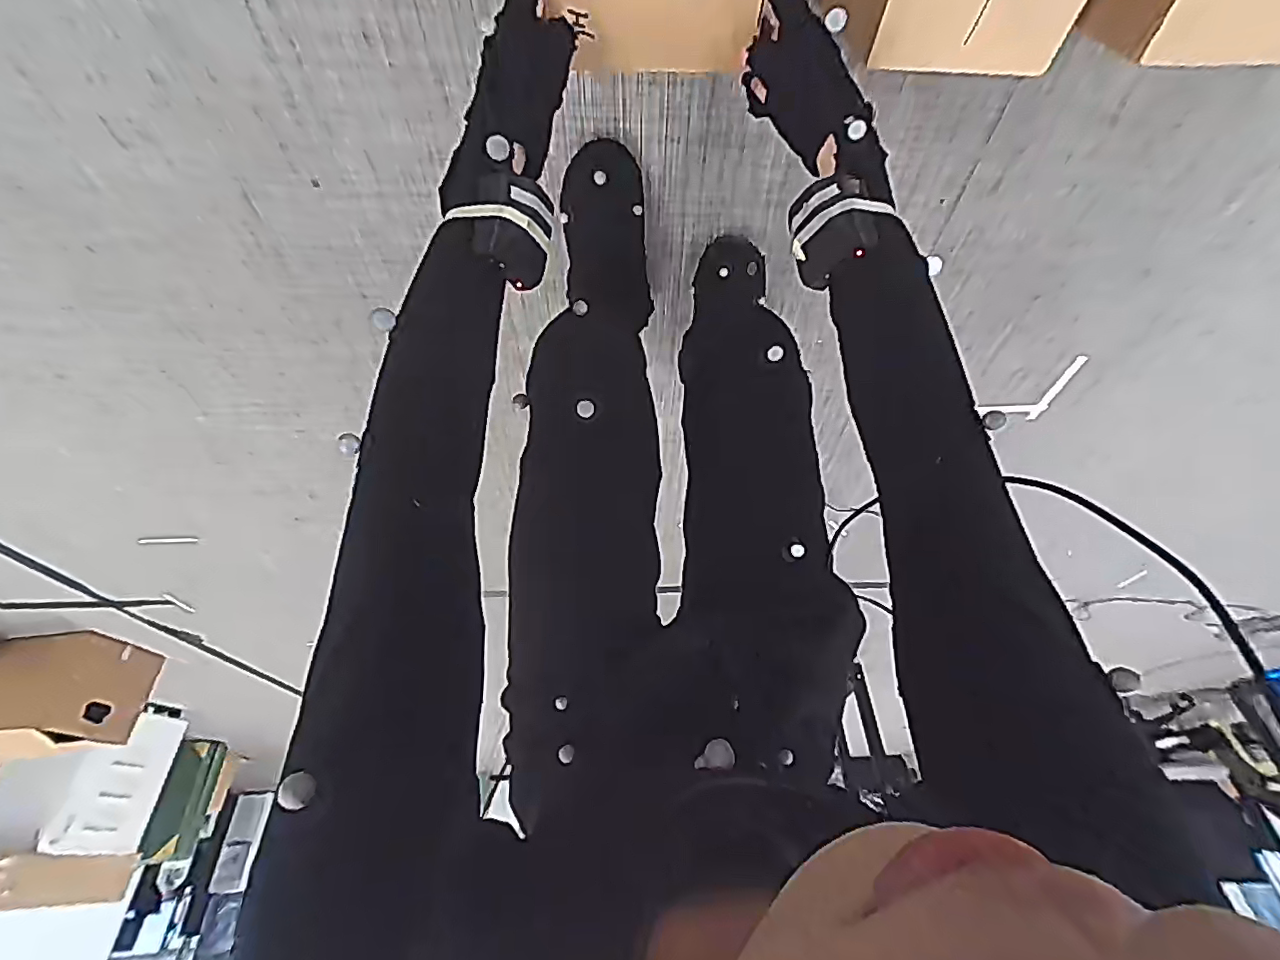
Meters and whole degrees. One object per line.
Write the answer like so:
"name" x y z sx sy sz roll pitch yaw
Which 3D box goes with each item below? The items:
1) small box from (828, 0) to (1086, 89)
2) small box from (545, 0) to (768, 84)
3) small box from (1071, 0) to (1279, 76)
"small box" 0.279 -0.469 0.459 0.168 0.176 0.179 0 145 -3
"small box" 0.008 -0.454 0.439 0.179 0.176 0.168 -3 147 -4
"small box" 0.517 -0.477 0.466 0.179 0.176 0.168 -3 146 -1
